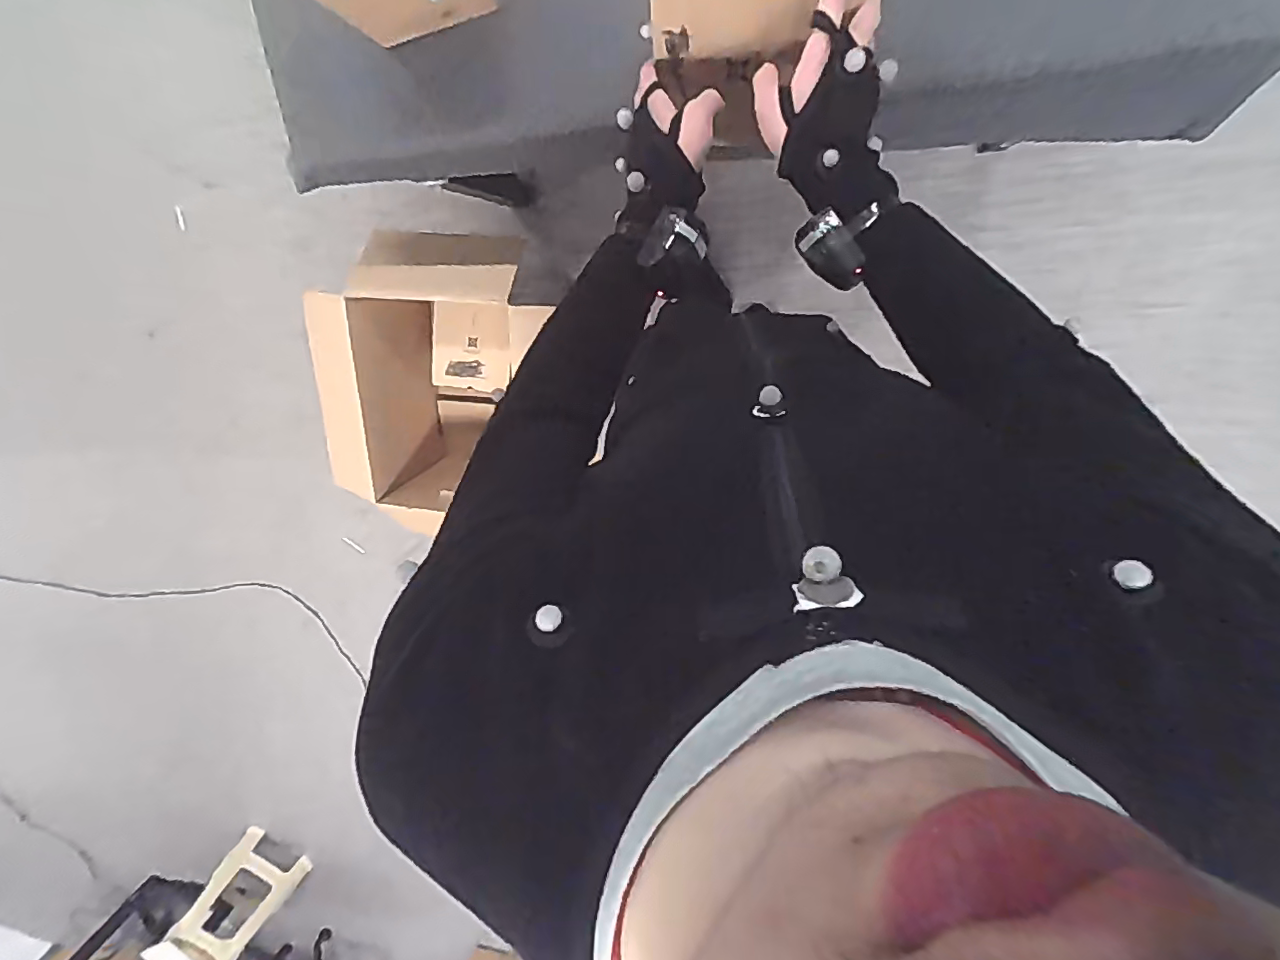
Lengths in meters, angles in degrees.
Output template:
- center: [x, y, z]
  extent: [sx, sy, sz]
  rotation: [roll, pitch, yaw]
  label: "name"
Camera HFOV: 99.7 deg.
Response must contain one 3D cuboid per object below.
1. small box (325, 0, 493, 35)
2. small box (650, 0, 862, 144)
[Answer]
- center: [-0.278, -0.619, 0.577]
  extent: [0.168, 0.176, 0.179]
  rotation: [-9, 107, 12]
  label: "small box"
- center: [0.106, -0.460, 0.516]
  extent: [0.179, 0.168, 0.176]
  rotation: [7, 75, 5]
  label: "small box"
